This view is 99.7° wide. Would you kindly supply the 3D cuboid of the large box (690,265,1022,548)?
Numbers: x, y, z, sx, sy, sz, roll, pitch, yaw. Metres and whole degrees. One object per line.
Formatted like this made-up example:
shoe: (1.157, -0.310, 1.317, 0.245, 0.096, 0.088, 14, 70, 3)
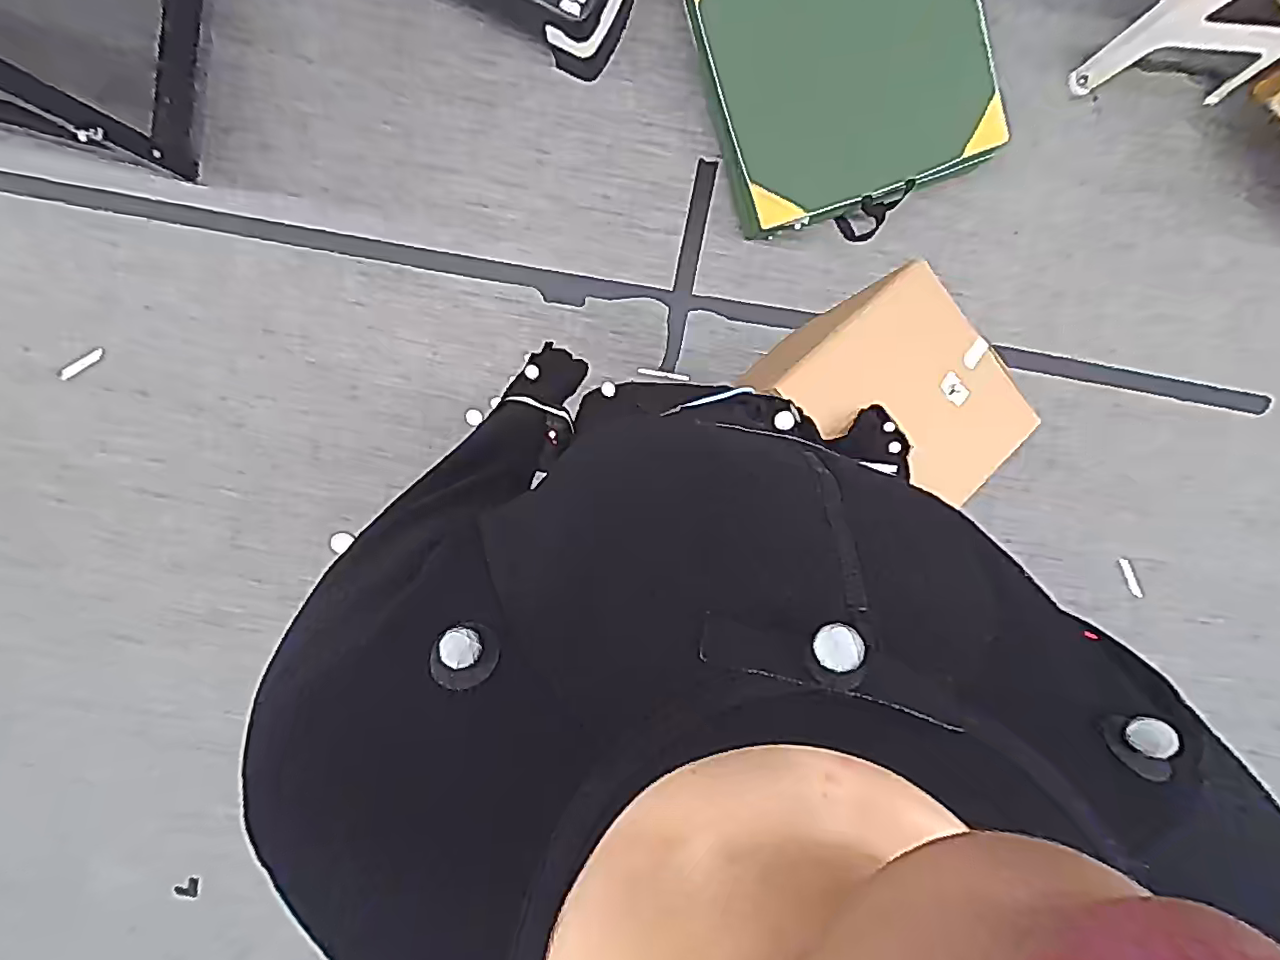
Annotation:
large box: (0.346, -0.106, 0.975, 0.320, 0.408, 0.320, -38, 95, -9)
